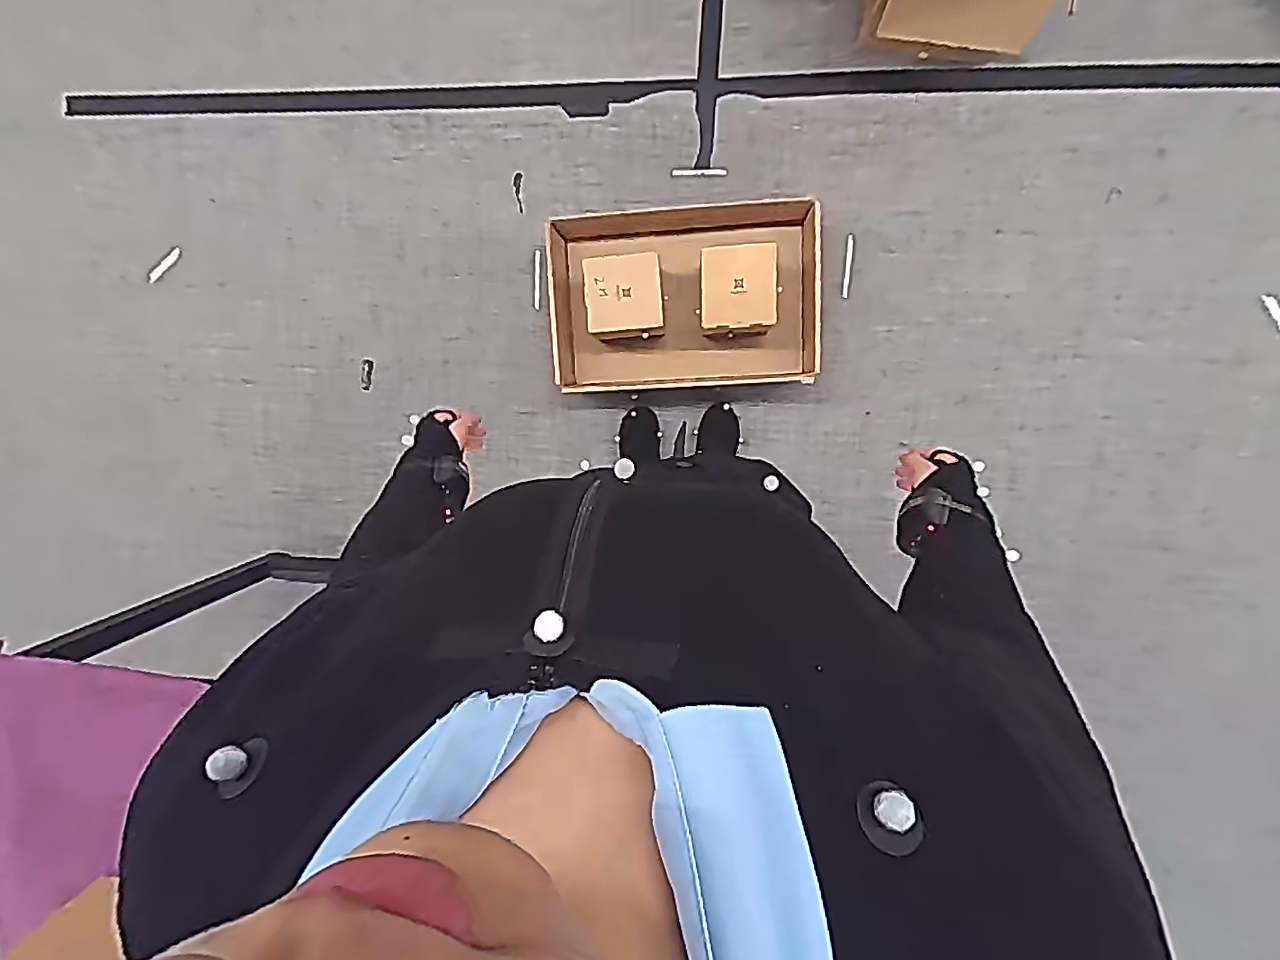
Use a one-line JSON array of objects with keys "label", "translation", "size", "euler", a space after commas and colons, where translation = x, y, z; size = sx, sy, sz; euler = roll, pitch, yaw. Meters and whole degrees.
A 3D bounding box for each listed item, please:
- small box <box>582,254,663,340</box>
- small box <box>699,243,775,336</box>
[{"label": "small box", "translation": [-0.035, -0.433, 1.298], "size": [0.179, 0.176, 0.168], "euler": [-3, 98, 5]}, {"label": "small box", "translation": [0.224, -0.441, 1.274], "size": [0.168, 0.176, 0.179], "euler": [-1, 99, 6]}]
